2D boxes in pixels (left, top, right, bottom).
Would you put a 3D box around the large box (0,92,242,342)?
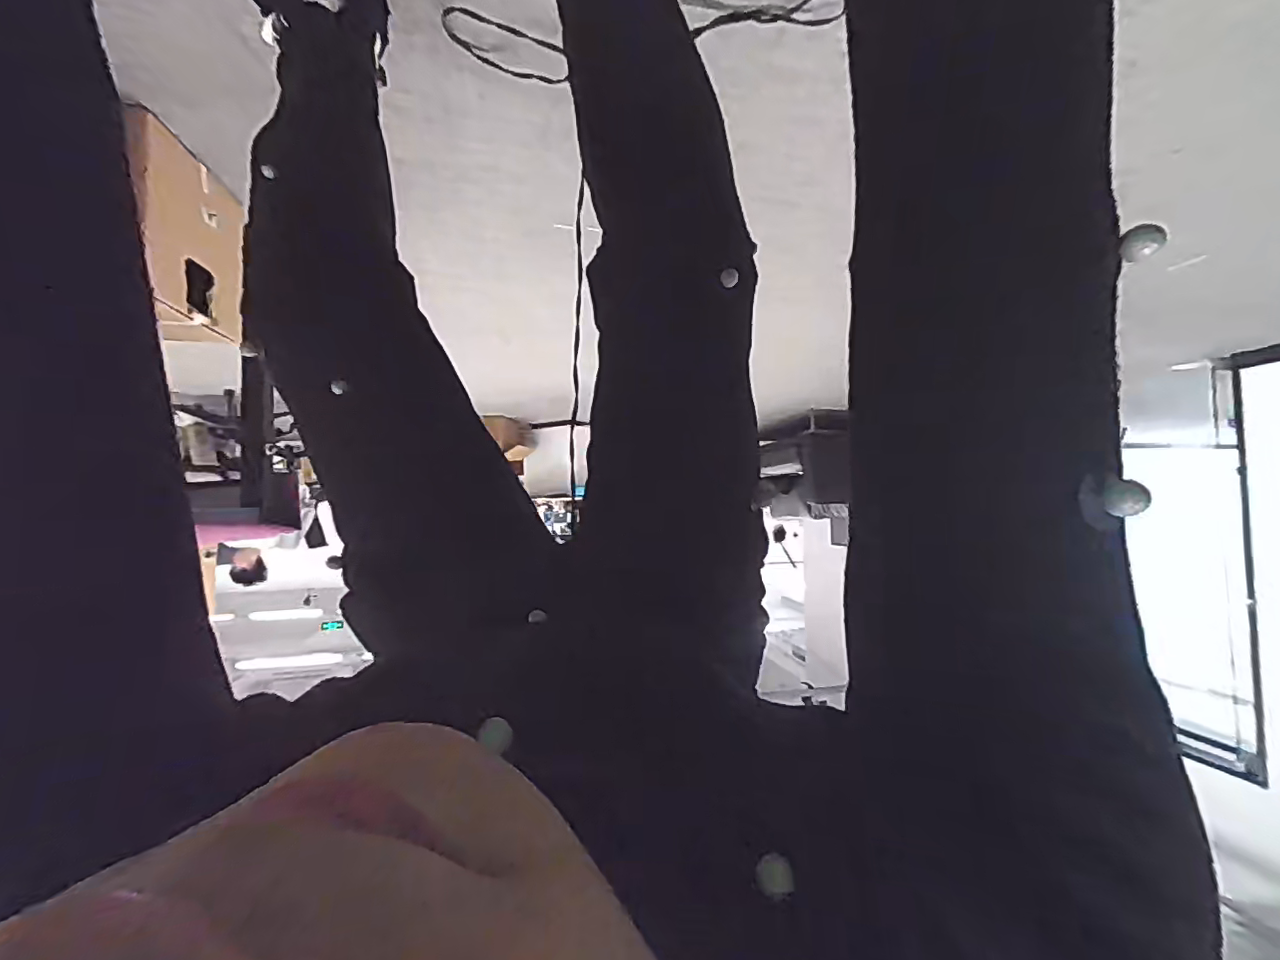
[{"bbox_3d":[-1.029,-0.456,0.984,0.408,0.320,0.320,1,177,-11],"label":"large box"}]
